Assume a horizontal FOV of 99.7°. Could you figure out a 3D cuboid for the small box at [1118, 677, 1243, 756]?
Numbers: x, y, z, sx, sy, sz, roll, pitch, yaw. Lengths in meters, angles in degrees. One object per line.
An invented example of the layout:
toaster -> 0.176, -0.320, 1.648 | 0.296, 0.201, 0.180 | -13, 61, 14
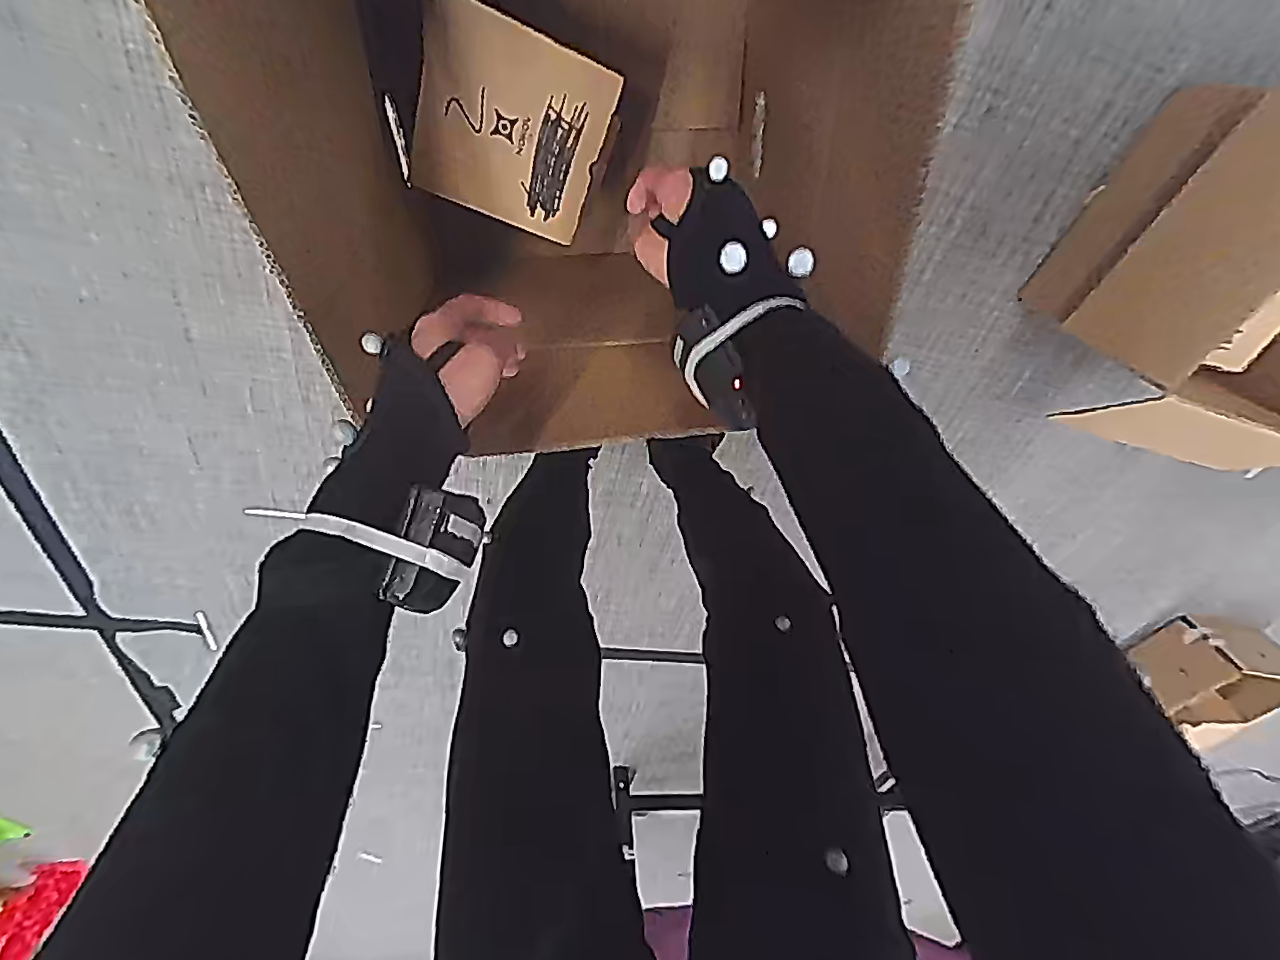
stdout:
small box -> 1.649, 0.726, 1.664 | 0.179, 0.176, 0.168 | 8, 129, -13
